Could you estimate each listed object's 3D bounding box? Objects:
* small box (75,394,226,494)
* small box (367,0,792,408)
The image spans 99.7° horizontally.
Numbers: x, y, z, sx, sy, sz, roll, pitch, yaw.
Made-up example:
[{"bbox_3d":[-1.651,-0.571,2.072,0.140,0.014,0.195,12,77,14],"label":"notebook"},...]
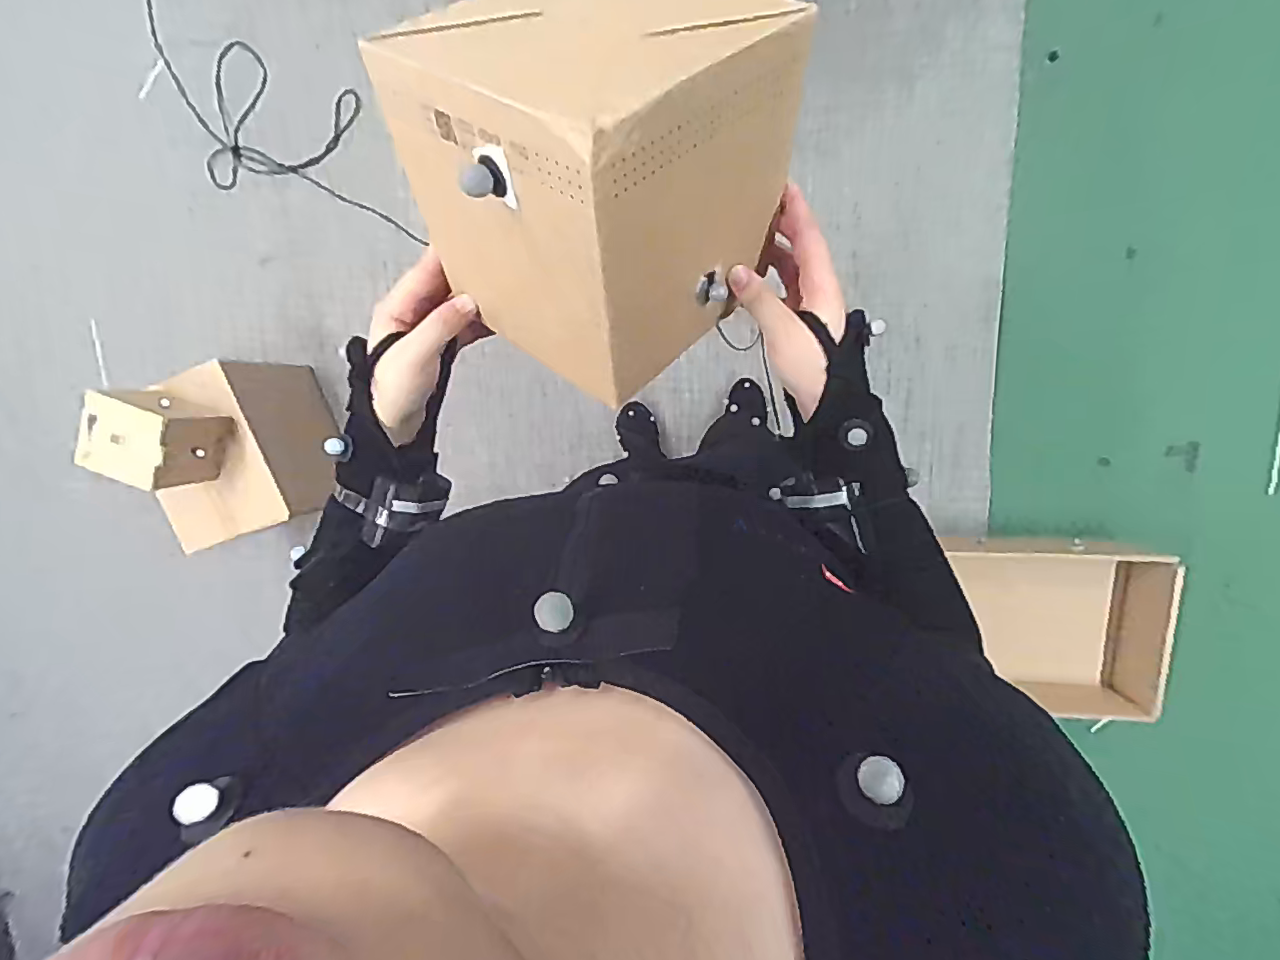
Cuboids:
[{"bbox_3d":[-1.067,-0.087,1.192,0.179,0.176,0.168,20,100,0],"label":"small box"},{"bbox_3d":[-0.026,-0.187,0.344,0.168,0.176,0.179,35,64,24],"label":"small box"}]
